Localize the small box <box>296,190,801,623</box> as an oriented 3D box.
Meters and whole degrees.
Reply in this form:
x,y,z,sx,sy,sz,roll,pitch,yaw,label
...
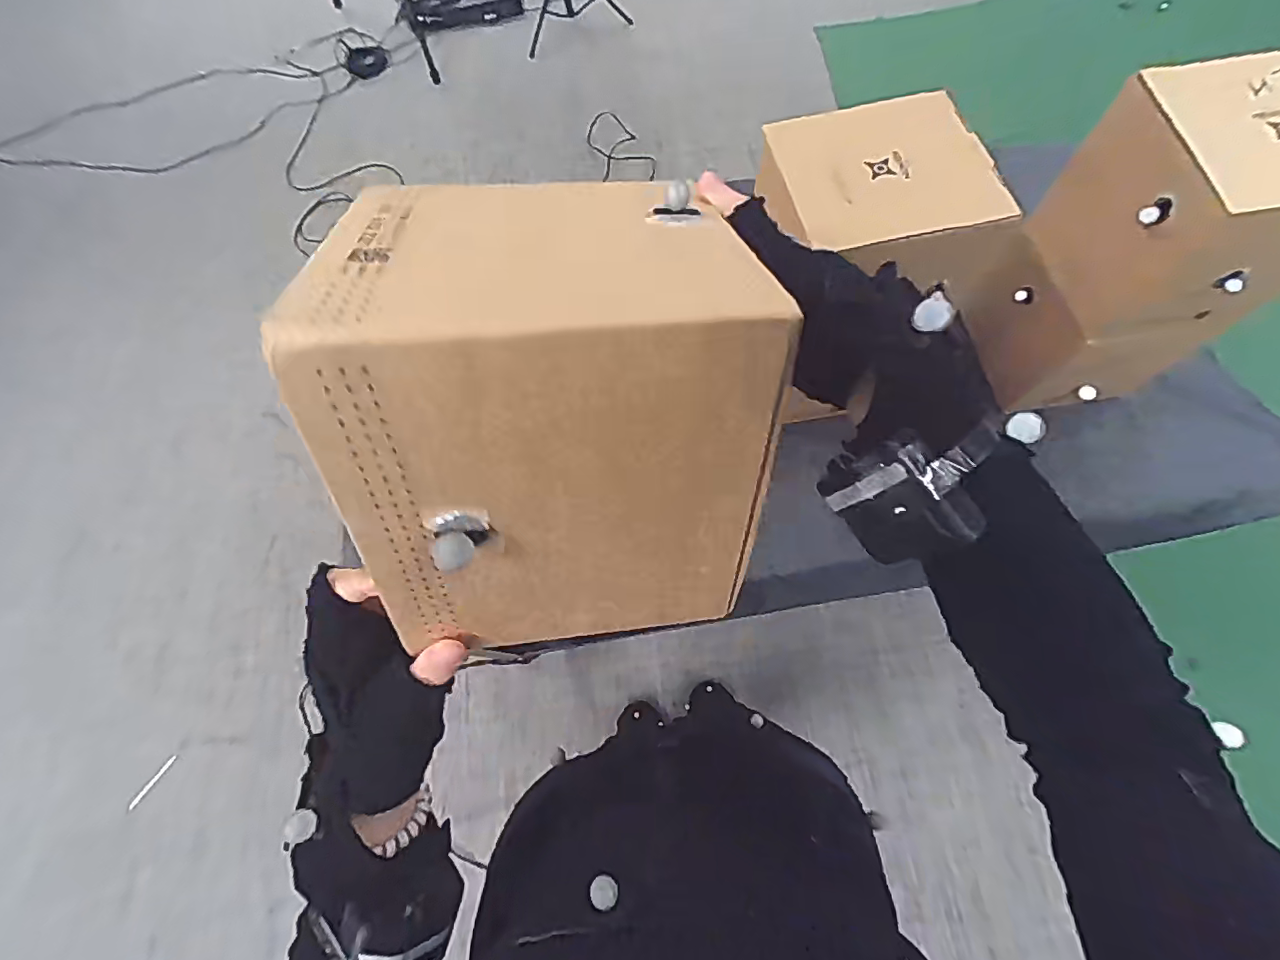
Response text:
x,y,z,sx,sy,sz,roll,pitch,yaw,label
-0.040,-0.041,0.286,0.176,0.179,0.168,-4,40,-8,small box

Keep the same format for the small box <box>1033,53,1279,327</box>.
x,y,z,sx,sy,sz,roll,pitch,yaw,label
0.541,-0.269,0.532,0.168,0.176,0.179,-7,68,2,small box

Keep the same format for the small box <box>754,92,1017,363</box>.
x,y,z,sx,sy,sz,roll,pitch,yaw,label
0.222,-0.243,0.550,0.179,0.176,0.168,-11,68,1,small box
